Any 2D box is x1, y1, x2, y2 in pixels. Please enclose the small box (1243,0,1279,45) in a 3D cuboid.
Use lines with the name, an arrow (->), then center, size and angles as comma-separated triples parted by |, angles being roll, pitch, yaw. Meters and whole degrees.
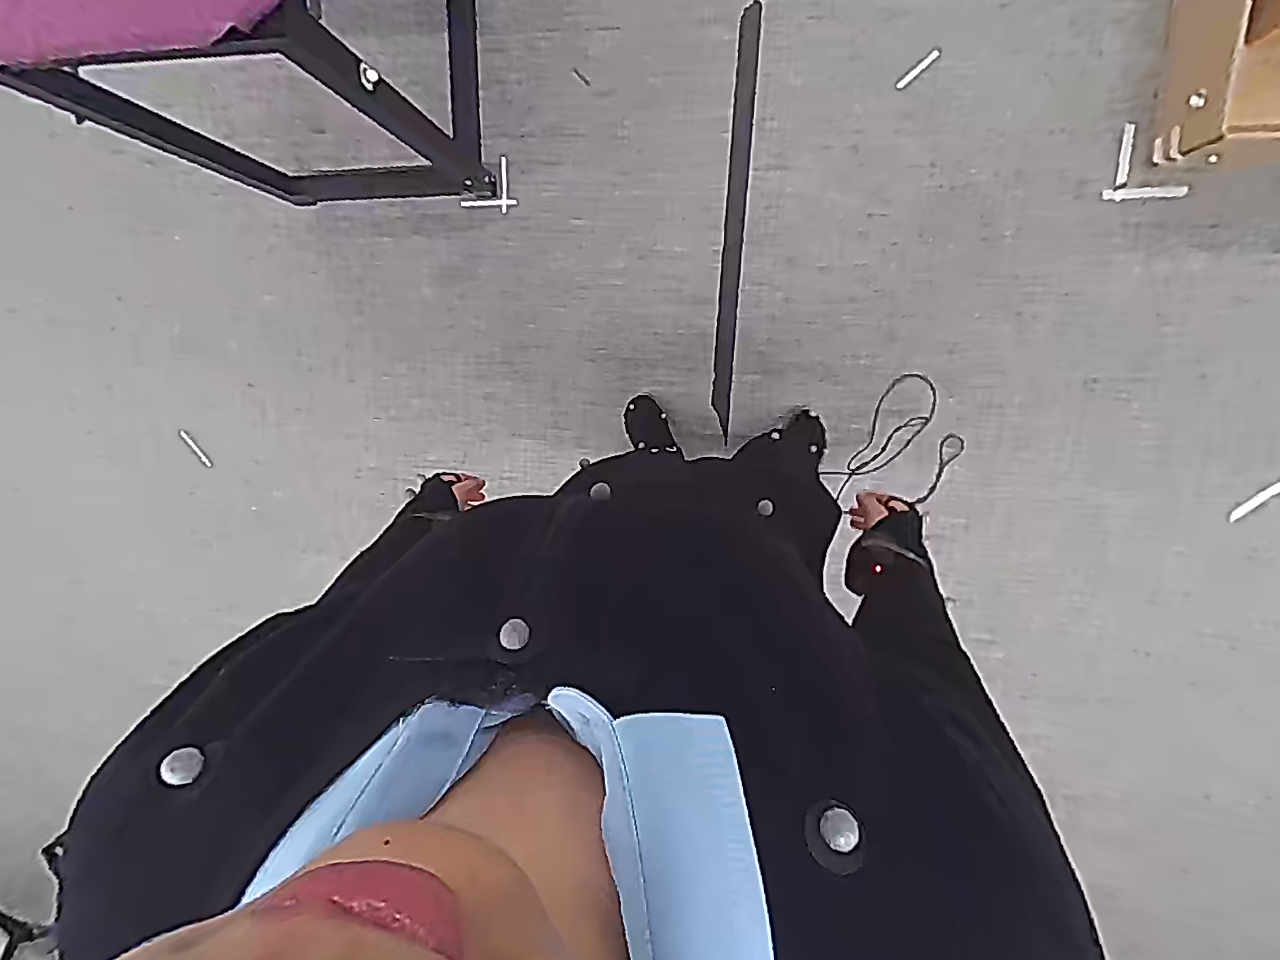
small box -> 1.313, -0.962, 1.017 | 0.179, 0.176, 0.168 | -2, 101, 8
